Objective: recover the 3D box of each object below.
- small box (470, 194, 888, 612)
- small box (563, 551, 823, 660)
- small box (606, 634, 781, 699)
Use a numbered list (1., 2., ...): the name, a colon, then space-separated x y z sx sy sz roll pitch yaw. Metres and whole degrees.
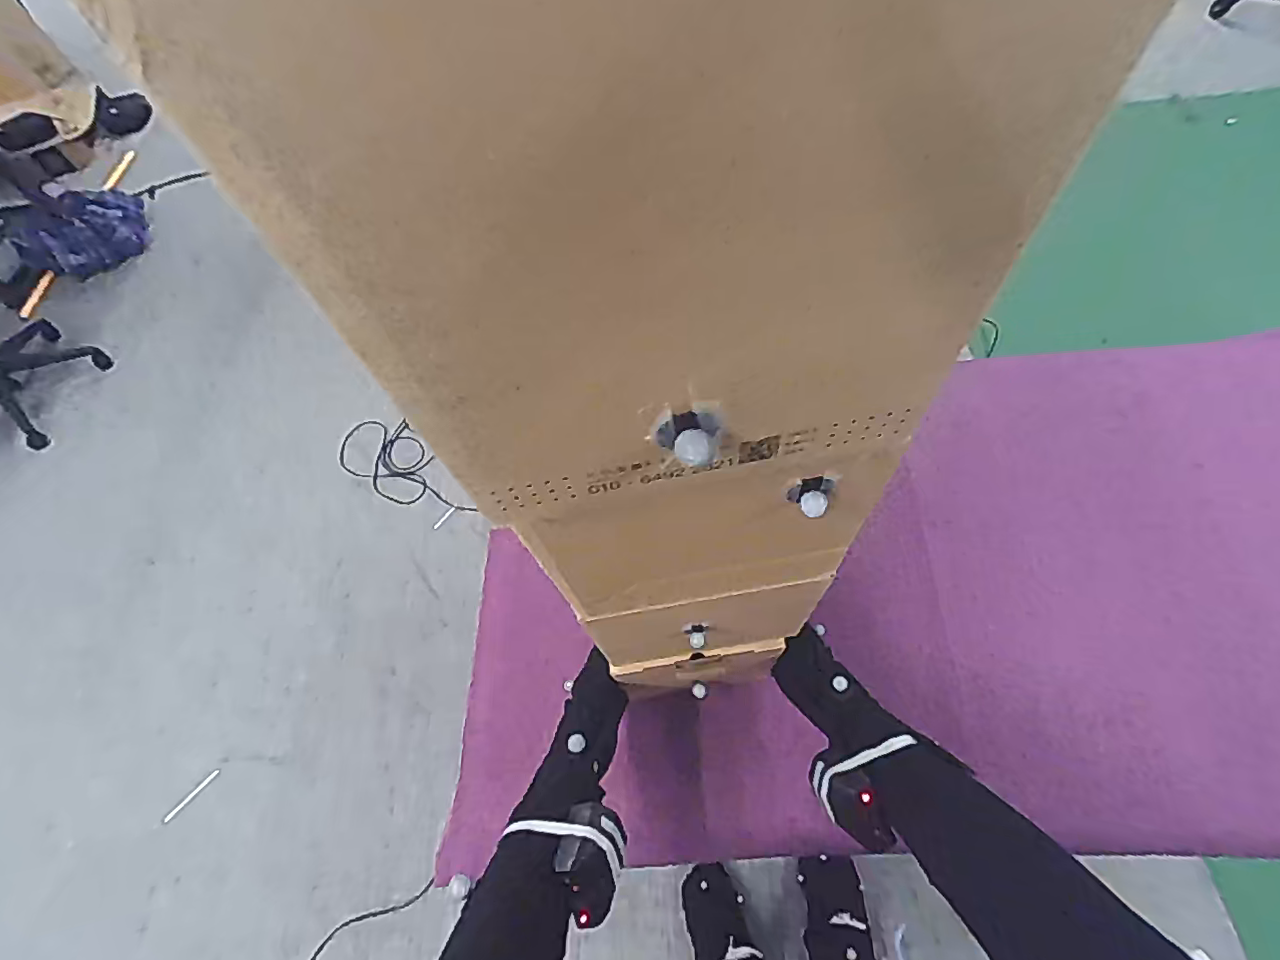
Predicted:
1. small box: 0.014 -0.032 0.326 0.179 0.176 0.168 -11 60 1
2. small box: 0.035 0.047 0.464 0.179 0.176 0.168 -8 58 2
3. small box: 0.048 0.133 0.607 0.168 0.176 0.179 -10 60 2
